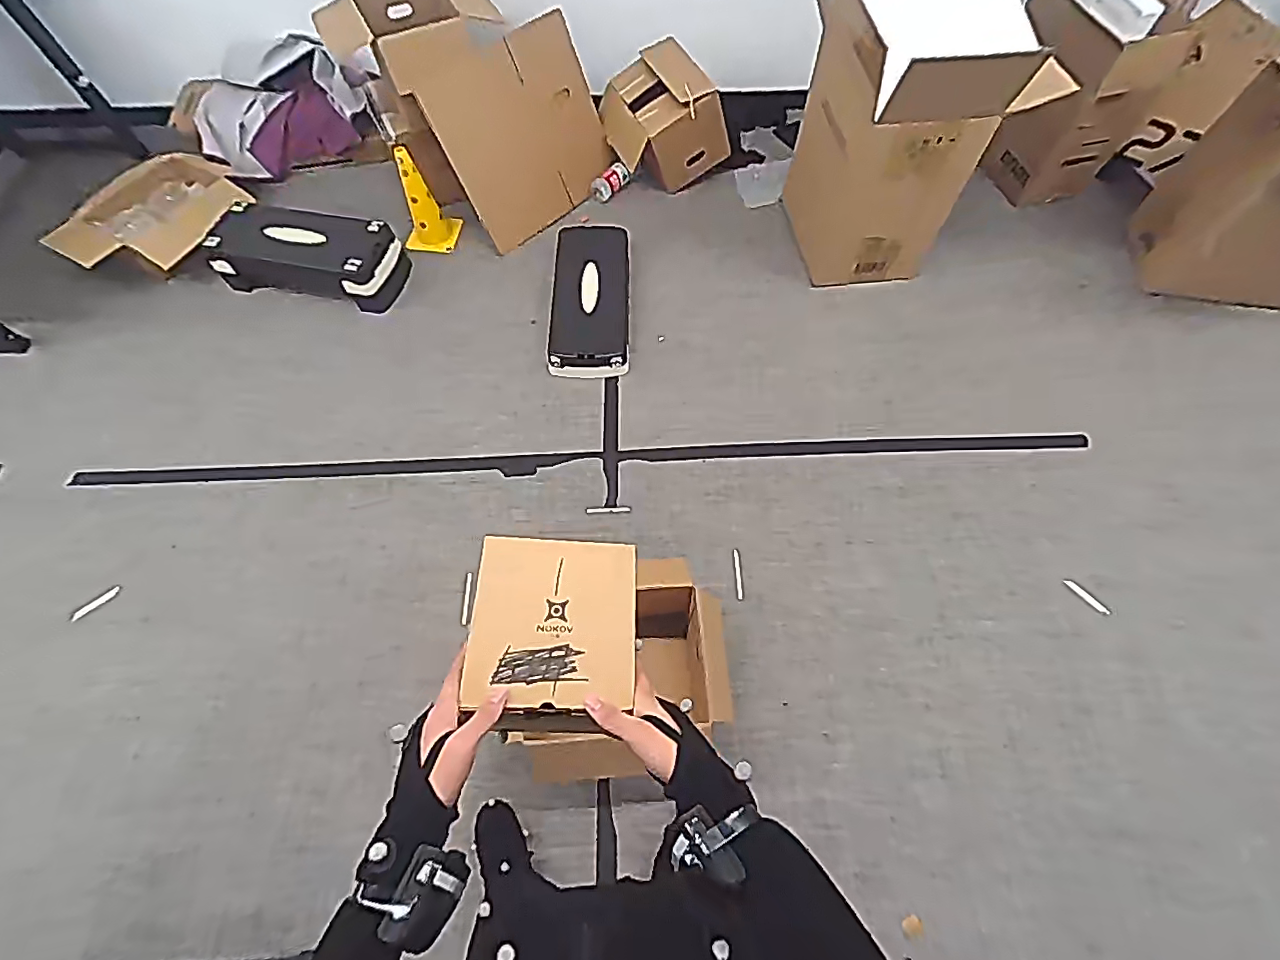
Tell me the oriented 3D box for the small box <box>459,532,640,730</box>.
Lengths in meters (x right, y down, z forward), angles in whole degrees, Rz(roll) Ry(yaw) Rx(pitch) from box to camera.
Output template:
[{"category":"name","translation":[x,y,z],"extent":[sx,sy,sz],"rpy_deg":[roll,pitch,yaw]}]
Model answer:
[{"category":"small box","translation":[-0.092,0.176,0.605],"extent":[0.168,0.176,0.179],"rpy_deg":[4,58,-7]}]
